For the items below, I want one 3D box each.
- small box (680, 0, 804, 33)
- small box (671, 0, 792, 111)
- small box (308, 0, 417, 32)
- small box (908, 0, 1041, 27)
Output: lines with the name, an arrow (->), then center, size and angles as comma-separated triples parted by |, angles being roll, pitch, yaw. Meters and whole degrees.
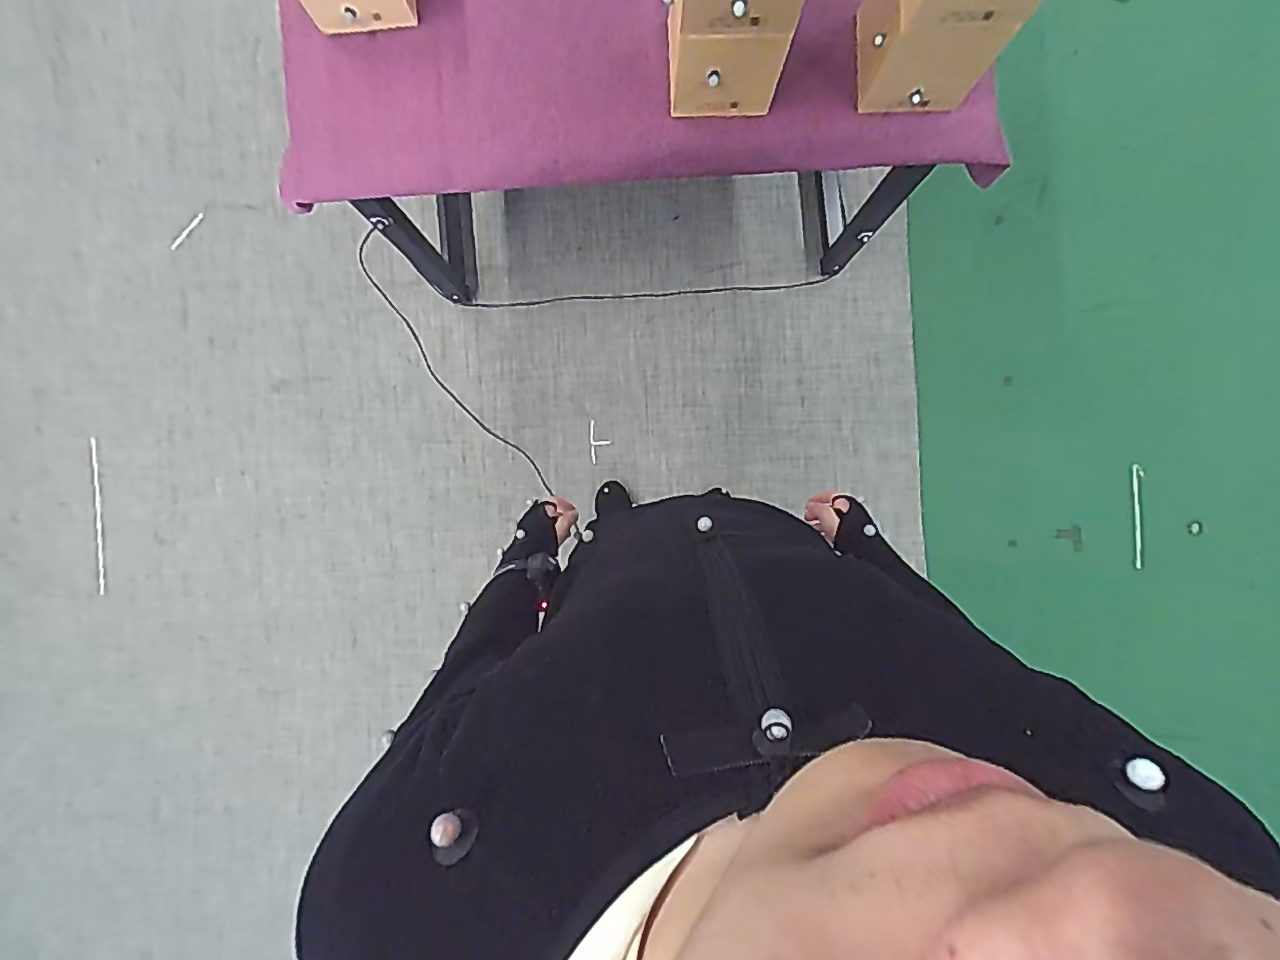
small box -> 0.136, -0.718, 0.680 | 0.168, 0.176, 0.179 | -1, 89, 1
small box -> 0.135, -0.711, 0.844 | 0.168, 0.176, 0.179 | -1, 88, 1
small box -> -0.469, -0.862, 0.848 | 0.168, 0.176, 0.179 | -6, 90, 1
small box -> 0.453, -0.722, 0.675 | 0.168, 0.176, 0.179 | 0, 88, 2
